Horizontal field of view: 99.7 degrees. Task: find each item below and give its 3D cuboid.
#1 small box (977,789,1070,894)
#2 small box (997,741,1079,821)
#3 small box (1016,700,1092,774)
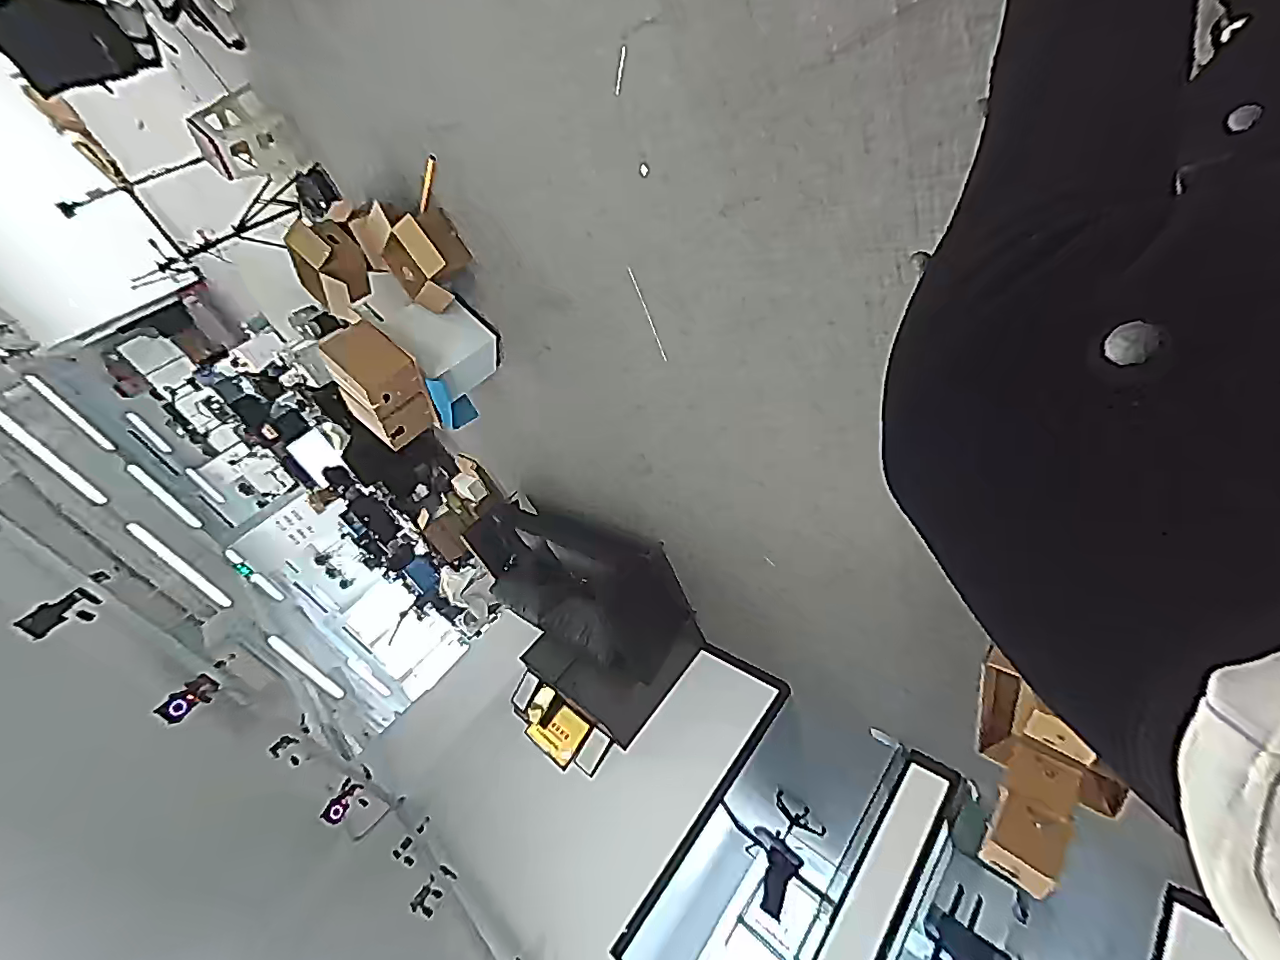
[{"bbox_3d":[1.124,1.055,1.587,0.168,0.176,0.179,24,144,36],"label":"small box"},{"bbox_3d":[1.224,0.950,1.664,0.168,0.176,0.179,16,139,44],"label":"small box"},{"bbox_3d":[1.328,0.853,1.741,0.168,0.176,0.179,16,139,43],"label":"small box"}]
